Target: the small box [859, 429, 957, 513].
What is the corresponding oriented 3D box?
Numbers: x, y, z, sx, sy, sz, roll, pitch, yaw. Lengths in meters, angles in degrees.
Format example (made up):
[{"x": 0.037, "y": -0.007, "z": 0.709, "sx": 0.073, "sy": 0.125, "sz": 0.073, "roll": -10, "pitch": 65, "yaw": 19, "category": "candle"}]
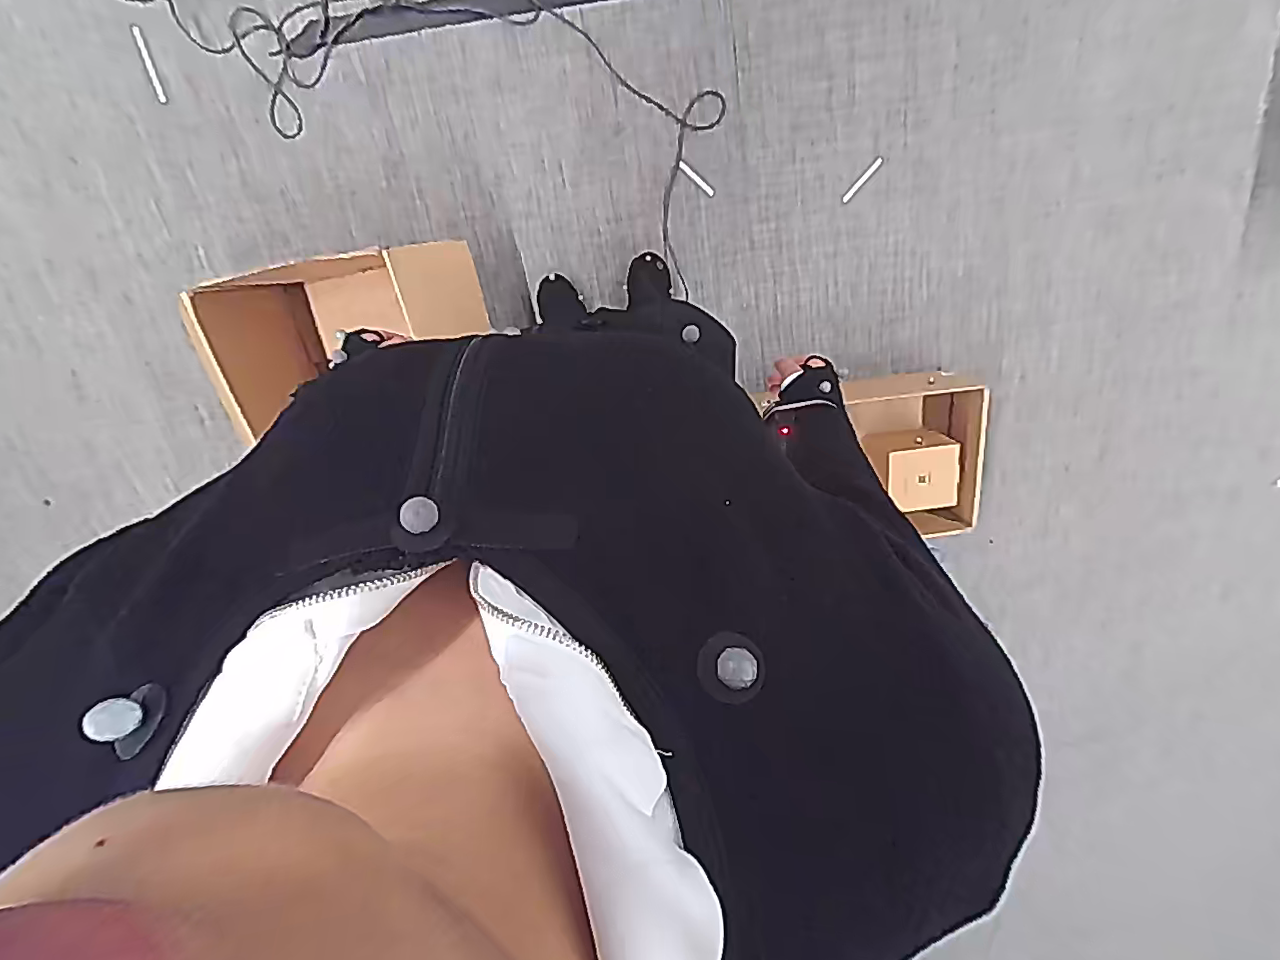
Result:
[{"x": 0.695, "y": -0.029, "z": 1.418, "sx": 0.179, "sy": 0.176, "sz": 0.168, "roll": -7, "pitch": 108, "yaw": 3, "category": "small box"}]
